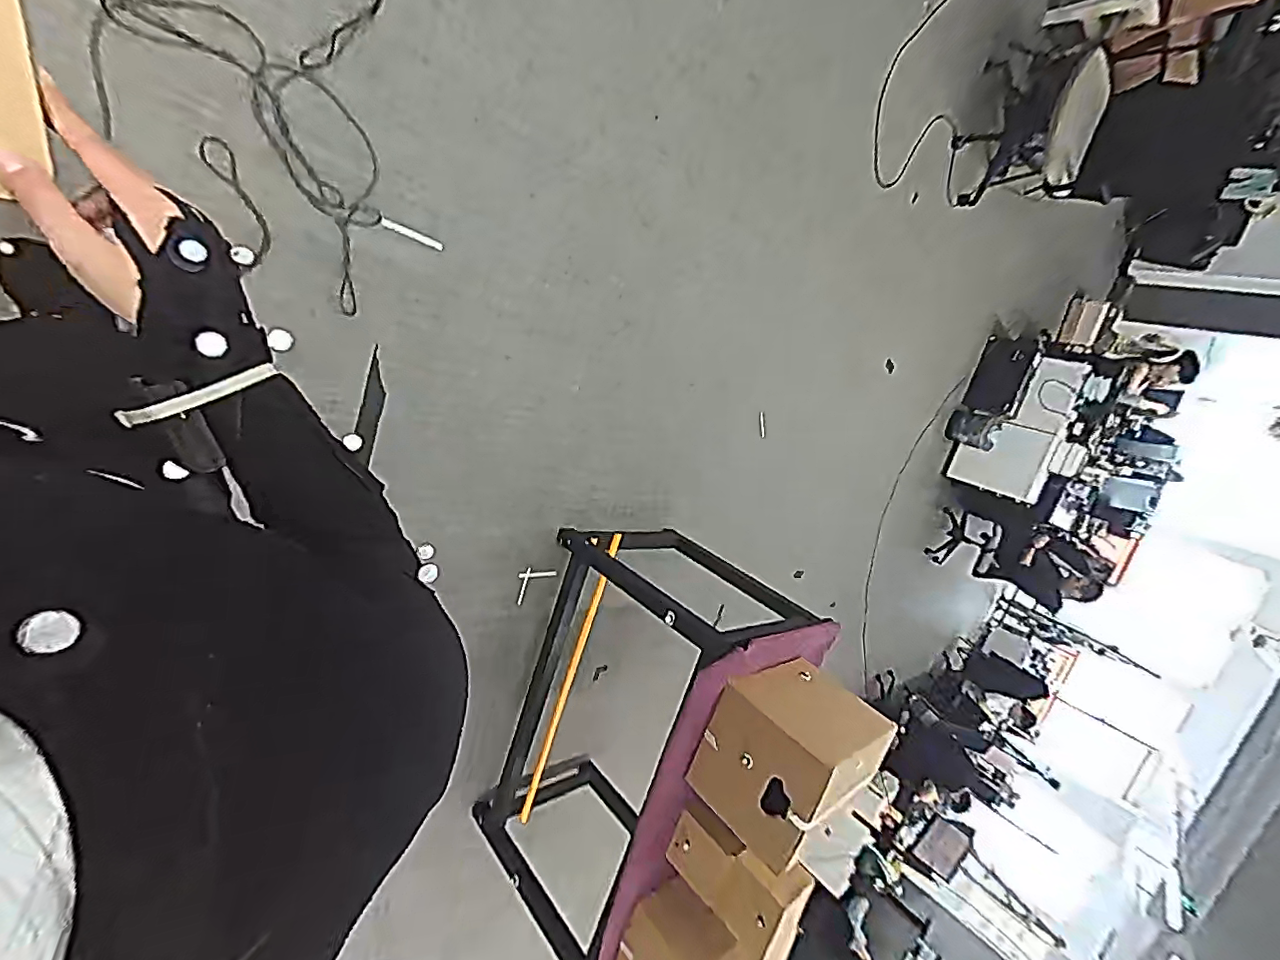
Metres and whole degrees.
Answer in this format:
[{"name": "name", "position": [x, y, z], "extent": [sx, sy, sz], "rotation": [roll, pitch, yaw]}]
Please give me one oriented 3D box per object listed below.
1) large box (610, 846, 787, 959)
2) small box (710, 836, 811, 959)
[{"name": "large box", "position": [0.163, 1.371, 1.559], "extent": [0.408, 0.320, 0.320], "rotation": [7, 106, -47]}, {"name": "small box", "position": [0.308, 1.086, 1.409], "extent": [0.168, 0.176, 0.179], "rotation": [9, 103, -47]}]
